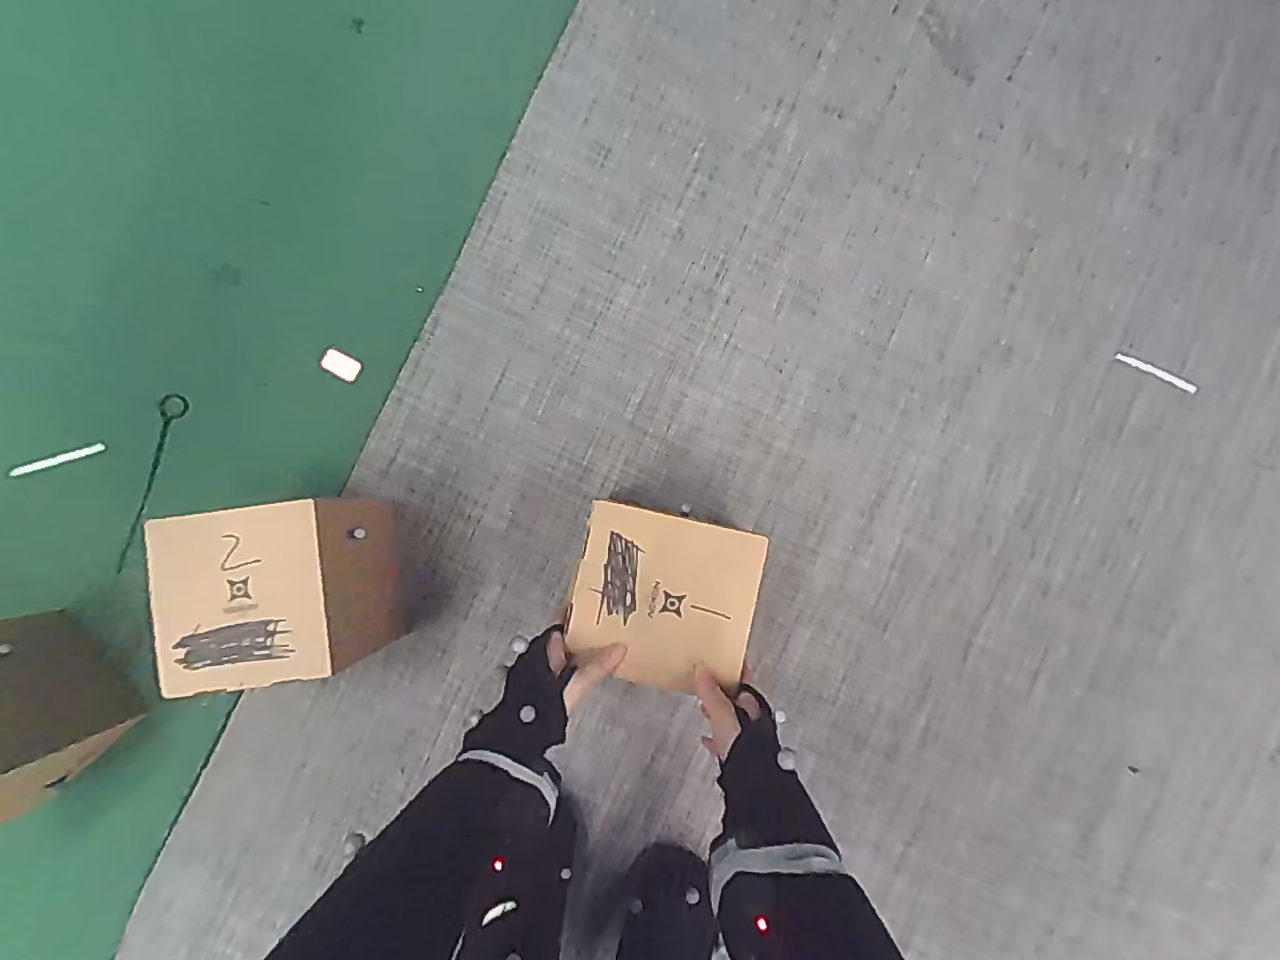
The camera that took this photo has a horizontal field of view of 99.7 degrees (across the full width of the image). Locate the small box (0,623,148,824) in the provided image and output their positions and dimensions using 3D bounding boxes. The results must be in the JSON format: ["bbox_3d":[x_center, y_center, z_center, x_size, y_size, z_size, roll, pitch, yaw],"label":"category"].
[{"bbox_3d":[-0.727,0.279,0.600,0.168,0.176,0.179,-41,88,-2],"label":"small box"}]

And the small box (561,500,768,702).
[{"bbox_3d":[0.024,0.122,0.606,0.179,0.176,0.168,13,87,0],"label":"small box"}]
